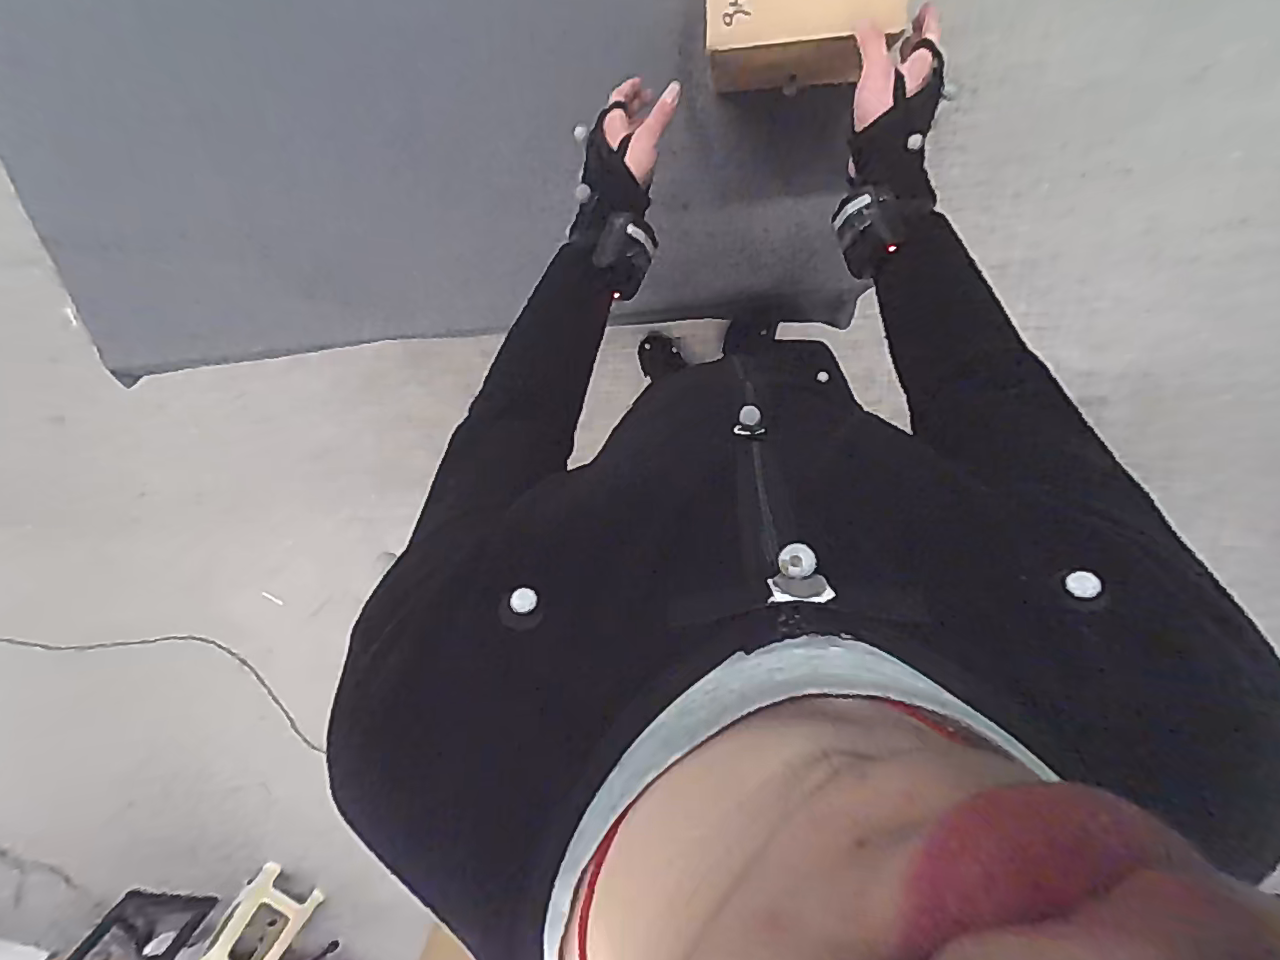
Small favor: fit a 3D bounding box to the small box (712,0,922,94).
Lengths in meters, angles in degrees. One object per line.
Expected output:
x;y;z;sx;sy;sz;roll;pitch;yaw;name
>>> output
0.160;-0.489;0.518;0.179;0.176;0.168;1;115;7;small box
